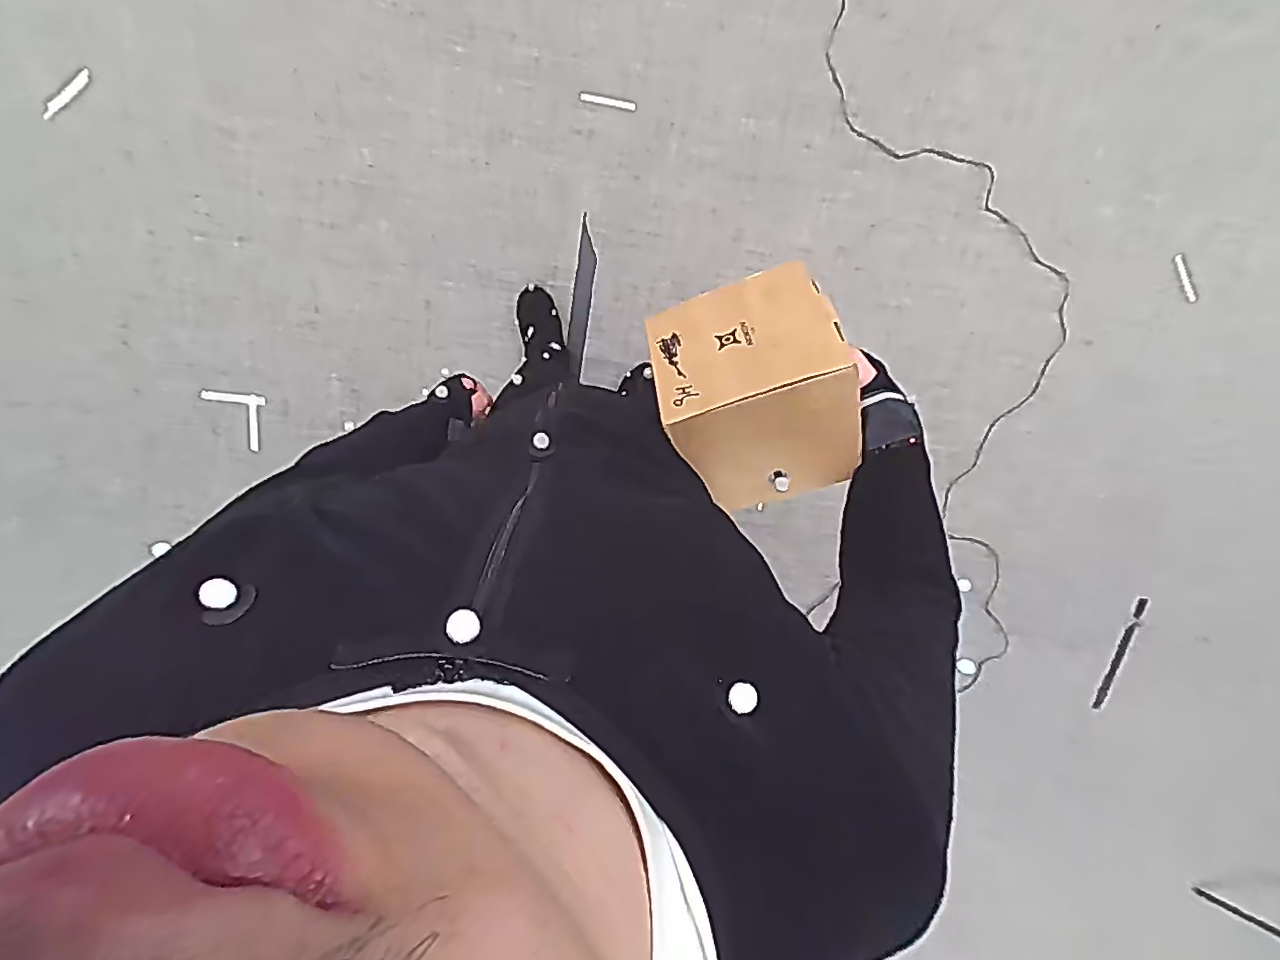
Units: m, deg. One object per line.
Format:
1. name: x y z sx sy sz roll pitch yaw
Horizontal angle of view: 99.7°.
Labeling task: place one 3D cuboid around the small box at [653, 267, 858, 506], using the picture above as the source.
1. small box: 0.127 -0.095 0.600 0.179 0.168 0.176 -16 140 11
